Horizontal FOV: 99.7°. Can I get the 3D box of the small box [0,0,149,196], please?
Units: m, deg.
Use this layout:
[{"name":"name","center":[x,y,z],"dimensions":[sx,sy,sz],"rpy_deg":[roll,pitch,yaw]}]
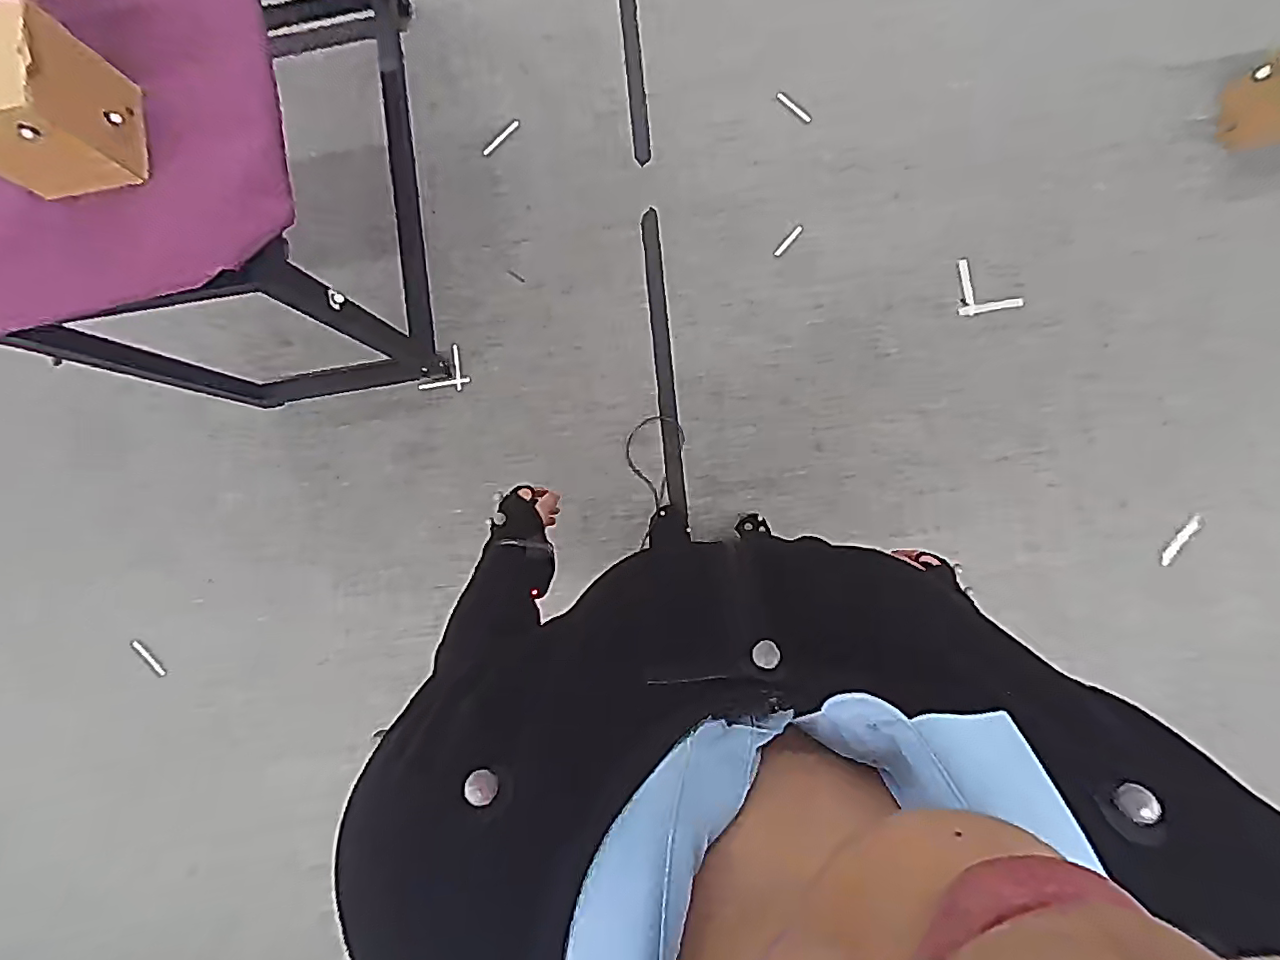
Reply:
[{"name":"small box","center":[-0.894,-0.555,0.806],"dimensions":[0.179,0.176,0.168],"rpy_deg":[-9,86,2]}]
